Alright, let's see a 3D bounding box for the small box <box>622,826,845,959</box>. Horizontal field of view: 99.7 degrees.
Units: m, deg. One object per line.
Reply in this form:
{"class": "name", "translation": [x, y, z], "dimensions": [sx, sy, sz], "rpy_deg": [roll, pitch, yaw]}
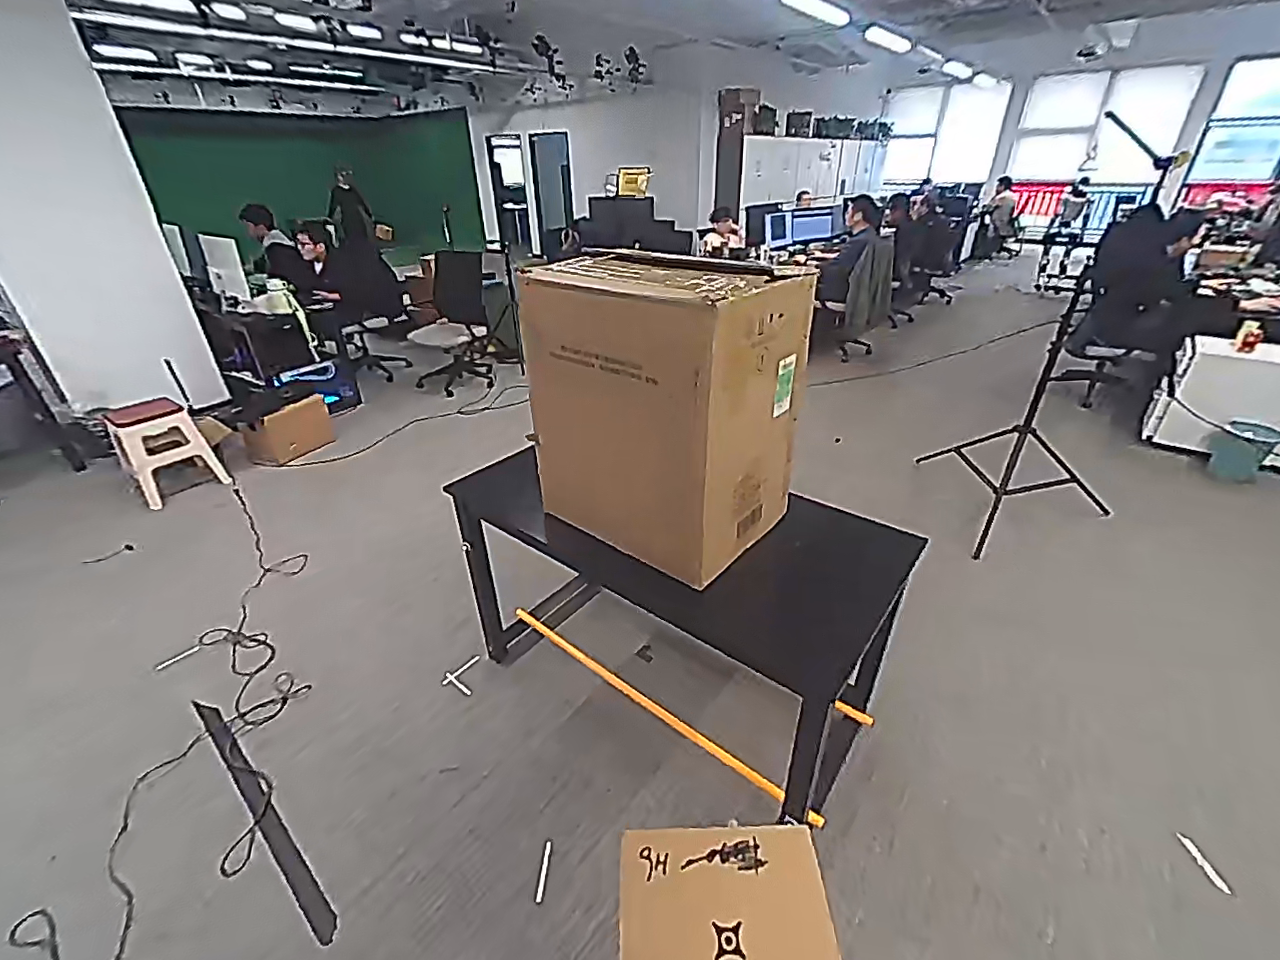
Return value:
{"class": "small box", "translation": [0.072, 0.415, 0.443], "dimensions": [0.168, 0.176, 0.179], "rpy_deg": [-2, 37, 1]}
